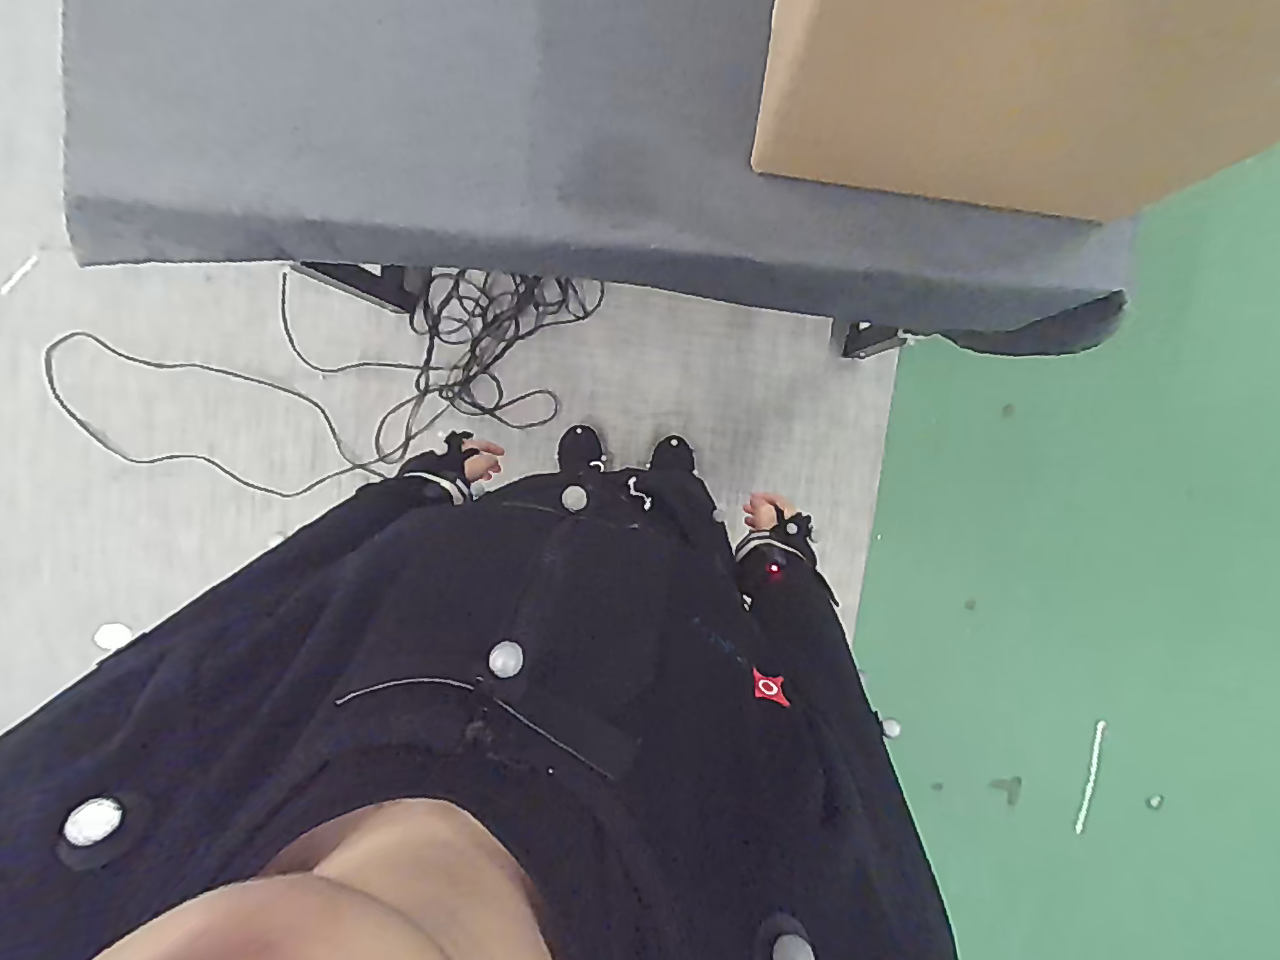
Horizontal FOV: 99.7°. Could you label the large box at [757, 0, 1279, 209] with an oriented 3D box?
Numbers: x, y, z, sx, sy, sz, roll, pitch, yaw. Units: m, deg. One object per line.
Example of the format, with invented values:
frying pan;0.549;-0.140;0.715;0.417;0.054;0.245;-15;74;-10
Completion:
large box;0.338;-0.456;0.434;0.408;0.320;0.320;8;96;0
